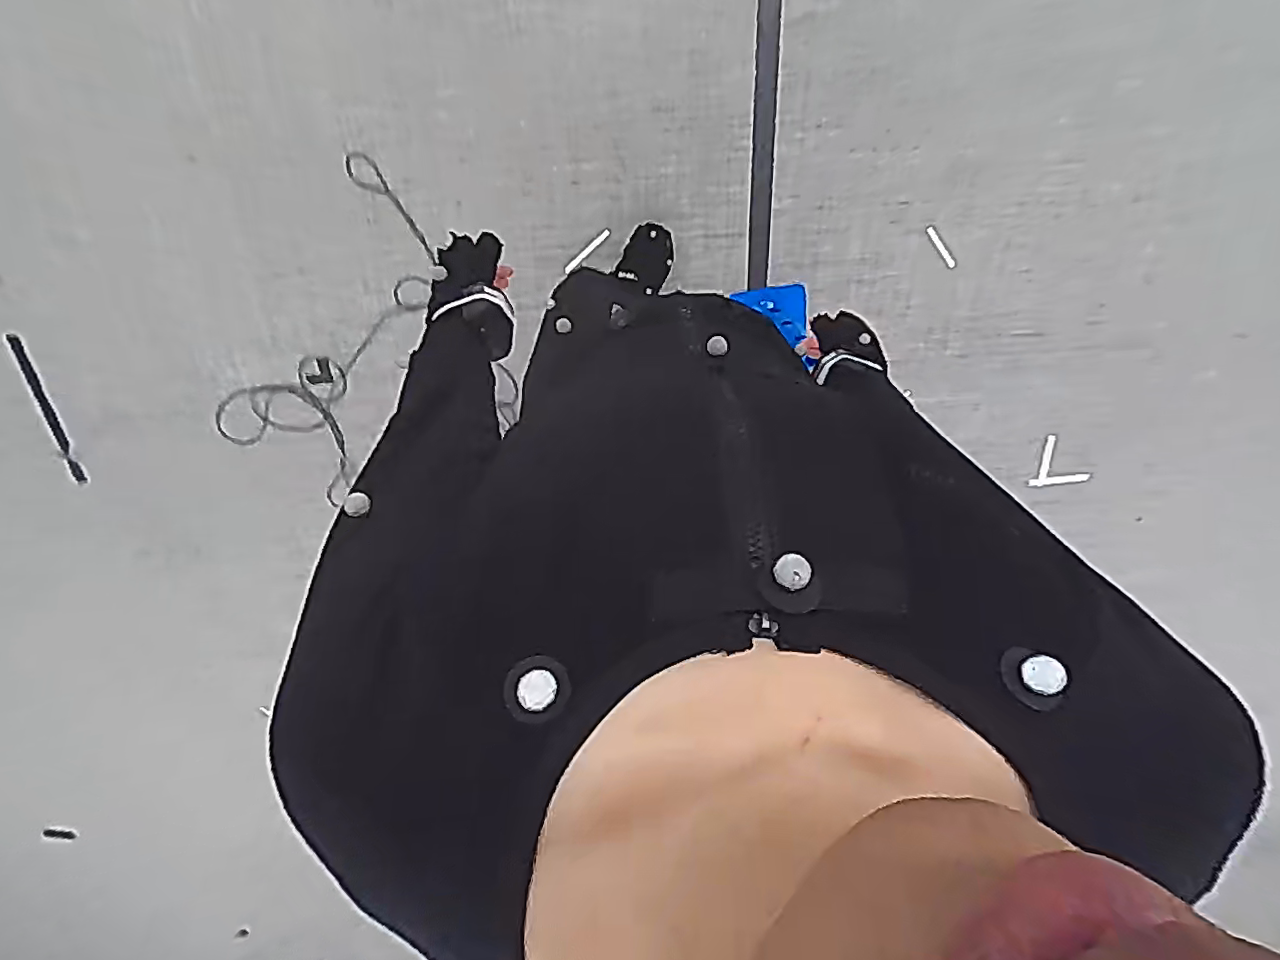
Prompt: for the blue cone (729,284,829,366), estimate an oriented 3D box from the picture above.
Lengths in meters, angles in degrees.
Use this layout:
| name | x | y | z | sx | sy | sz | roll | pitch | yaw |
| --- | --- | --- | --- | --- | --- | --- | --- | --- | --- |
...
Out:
| name | x | y | z | sx | sy | sz | roll | pitch | yaw |
| --- | --- | --- | --- | --- | --- | --- | --- | --- | --- |
| blue cone | 0.332 | -0.321 | 1.224 | 0.192 | 0.380 | 0.193 | -7 | 115 | 0 |
